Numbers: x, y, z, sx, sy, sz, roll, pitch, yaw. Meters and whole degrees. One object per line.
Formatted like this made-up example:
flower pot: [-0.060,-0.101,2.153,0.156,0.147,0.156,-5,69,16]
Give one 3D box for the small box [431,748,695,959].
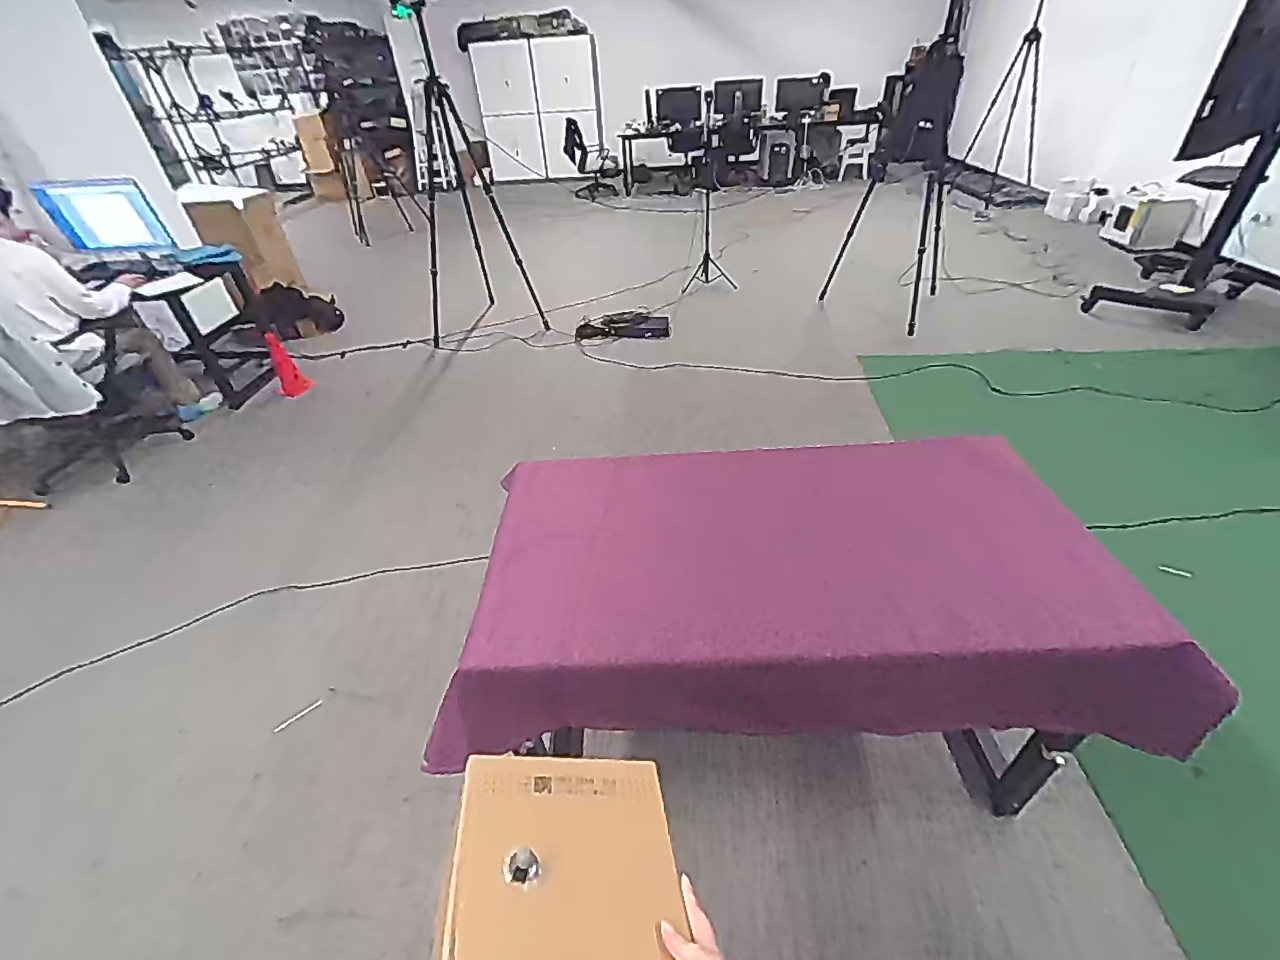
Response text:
small box: [-0.075,0.345,0.437,0.168,0.179,0.176,11,24,-14]
